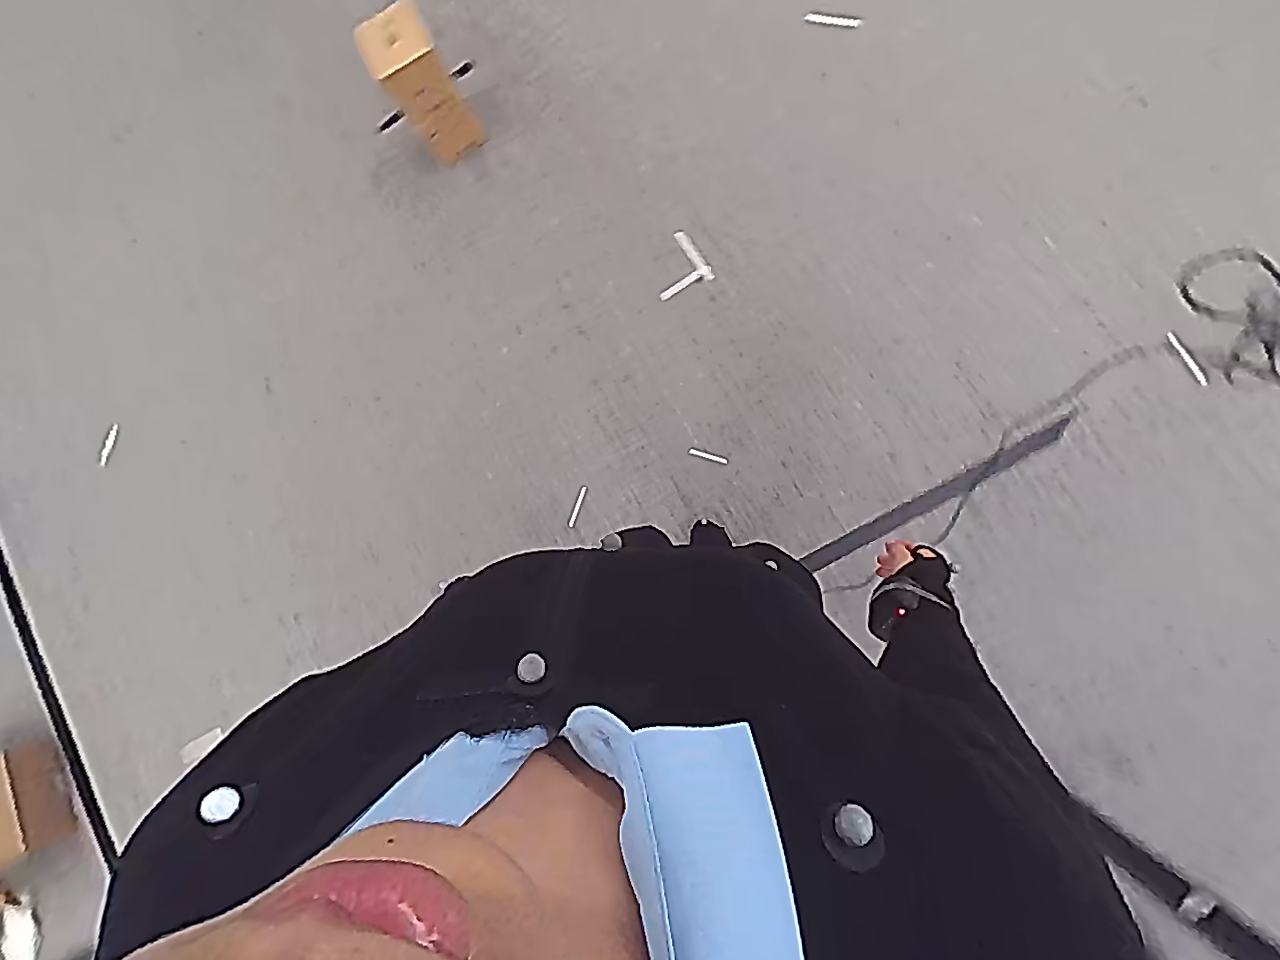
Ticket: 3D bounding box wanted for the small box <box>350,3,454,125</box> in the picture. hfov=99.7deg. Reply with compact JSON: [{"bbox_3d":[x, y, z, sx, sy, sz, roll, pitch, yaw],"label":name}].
[{"bbox_3d":[-0.630,-1.101,1.453,0.168,0.176,0.179,-27,81,4],"label":"small box"}]
